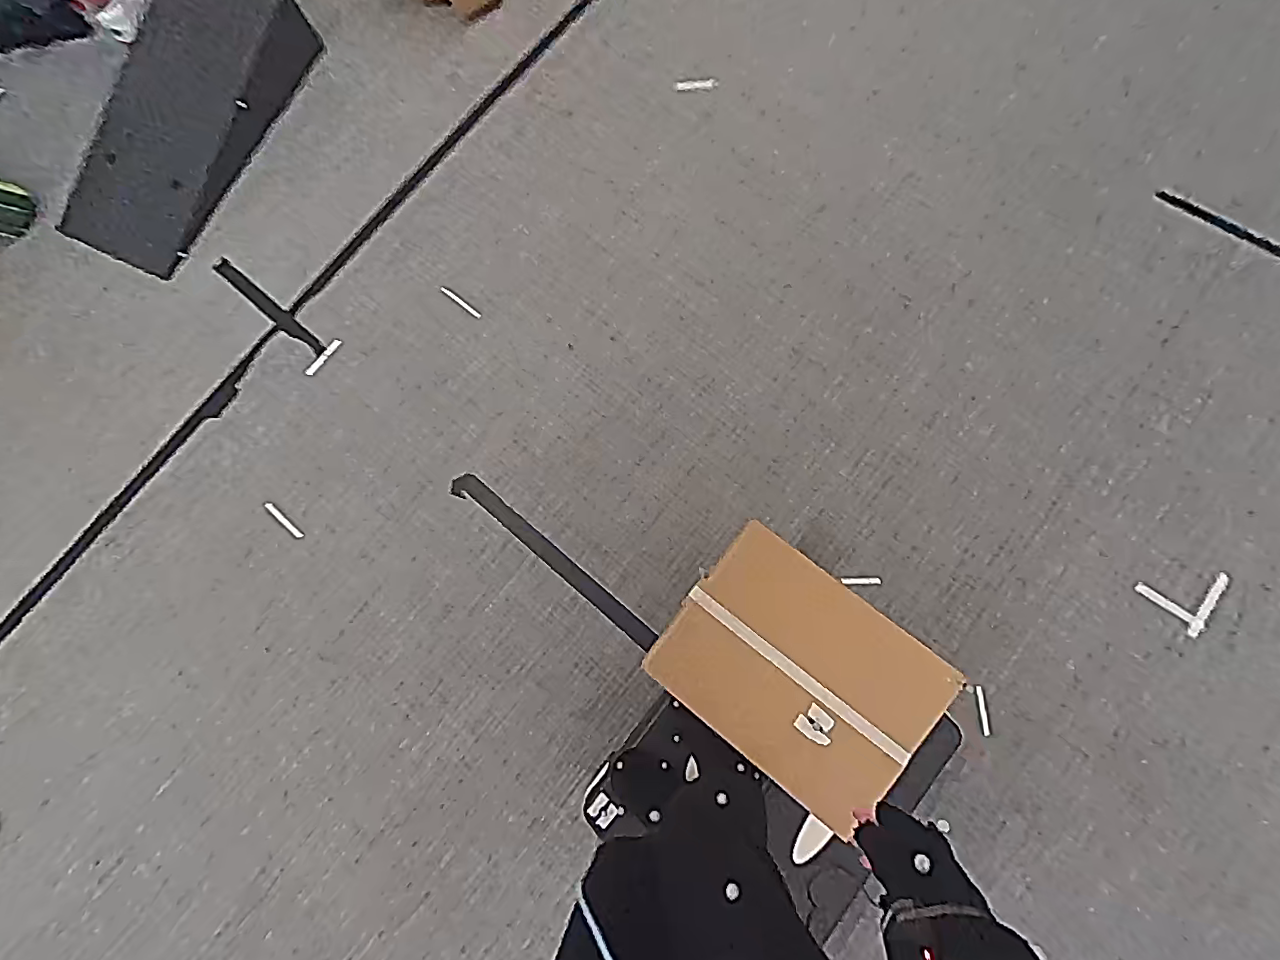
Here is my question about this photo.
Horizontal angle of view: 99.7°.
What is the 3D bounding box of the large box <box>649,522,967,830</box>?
[{"bbox_3d":[0.277,0.320,1.009,0.408,0.320,0.320,37,90,11],"label":"large box"}]
